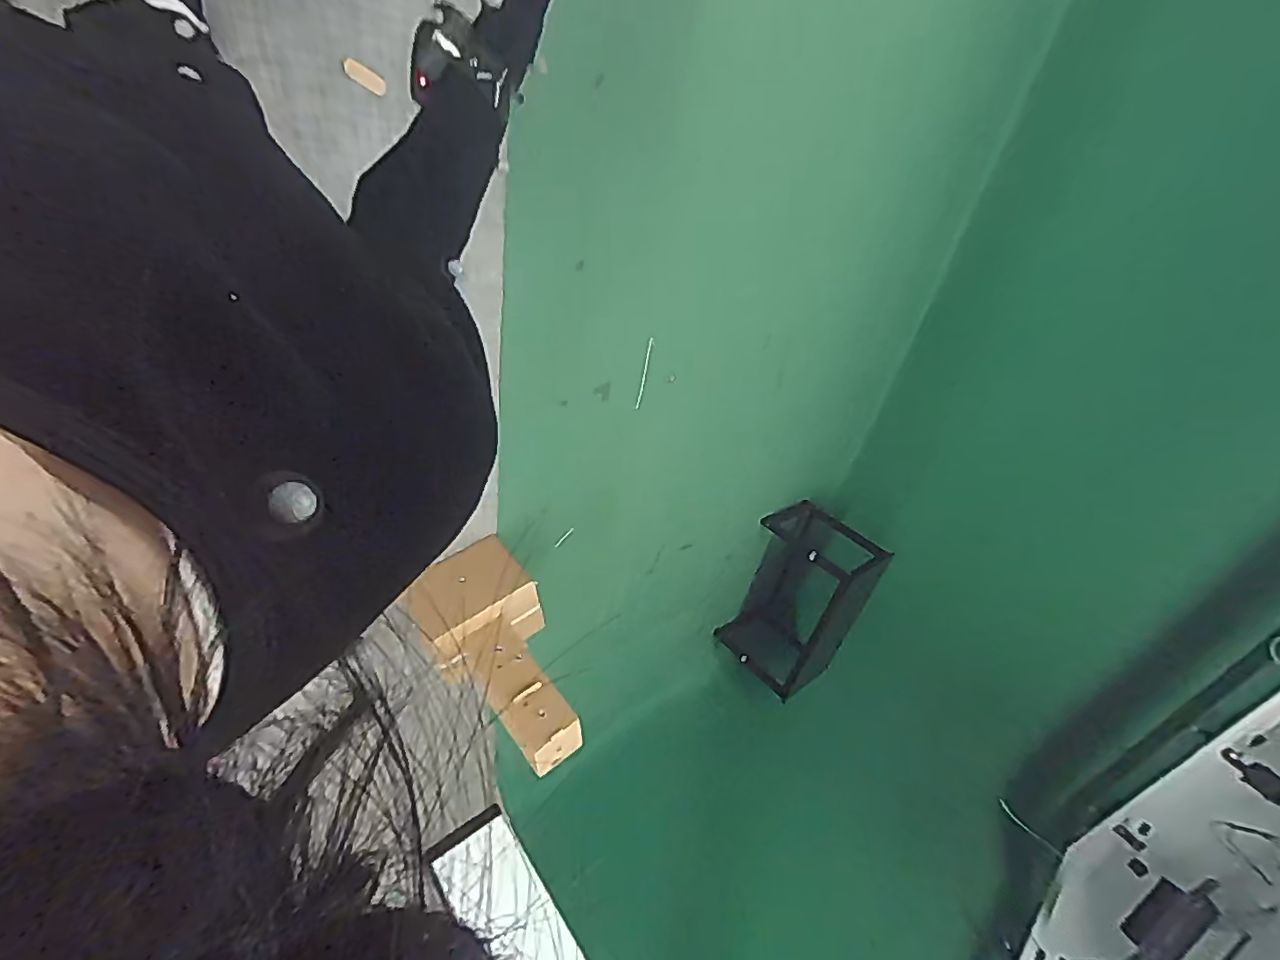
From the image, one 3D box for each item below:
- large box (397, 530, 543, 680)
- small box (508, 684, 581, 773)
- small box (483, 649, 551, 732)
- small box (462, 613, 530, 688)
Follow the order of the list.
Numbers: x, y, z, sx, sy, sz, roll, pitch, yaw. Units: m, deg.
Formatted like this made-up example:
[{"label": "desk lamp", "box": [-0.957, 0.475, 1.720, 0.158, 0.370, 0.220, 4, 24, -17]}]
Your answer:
[{"label": "large box", "box": [-0.641, 0.467, 2.073, 0.408, 0.320, 0.320, -30, 141, -28]}, {"label": "small box", "box": [-0.306, 0.786, 1.733, 0.168, 0.176, 0.179, -26, 136, -30]}, {"label": "small box", "box": [-0.413, 0.700, 1.824, 0.168, 0.176, 0.179, -25, 137, -31]}, {"label": "small box", "box": [-0.508, 0.608, 1.921, 0.179, 0.176, 0.168, -26, 137, -29]}]
